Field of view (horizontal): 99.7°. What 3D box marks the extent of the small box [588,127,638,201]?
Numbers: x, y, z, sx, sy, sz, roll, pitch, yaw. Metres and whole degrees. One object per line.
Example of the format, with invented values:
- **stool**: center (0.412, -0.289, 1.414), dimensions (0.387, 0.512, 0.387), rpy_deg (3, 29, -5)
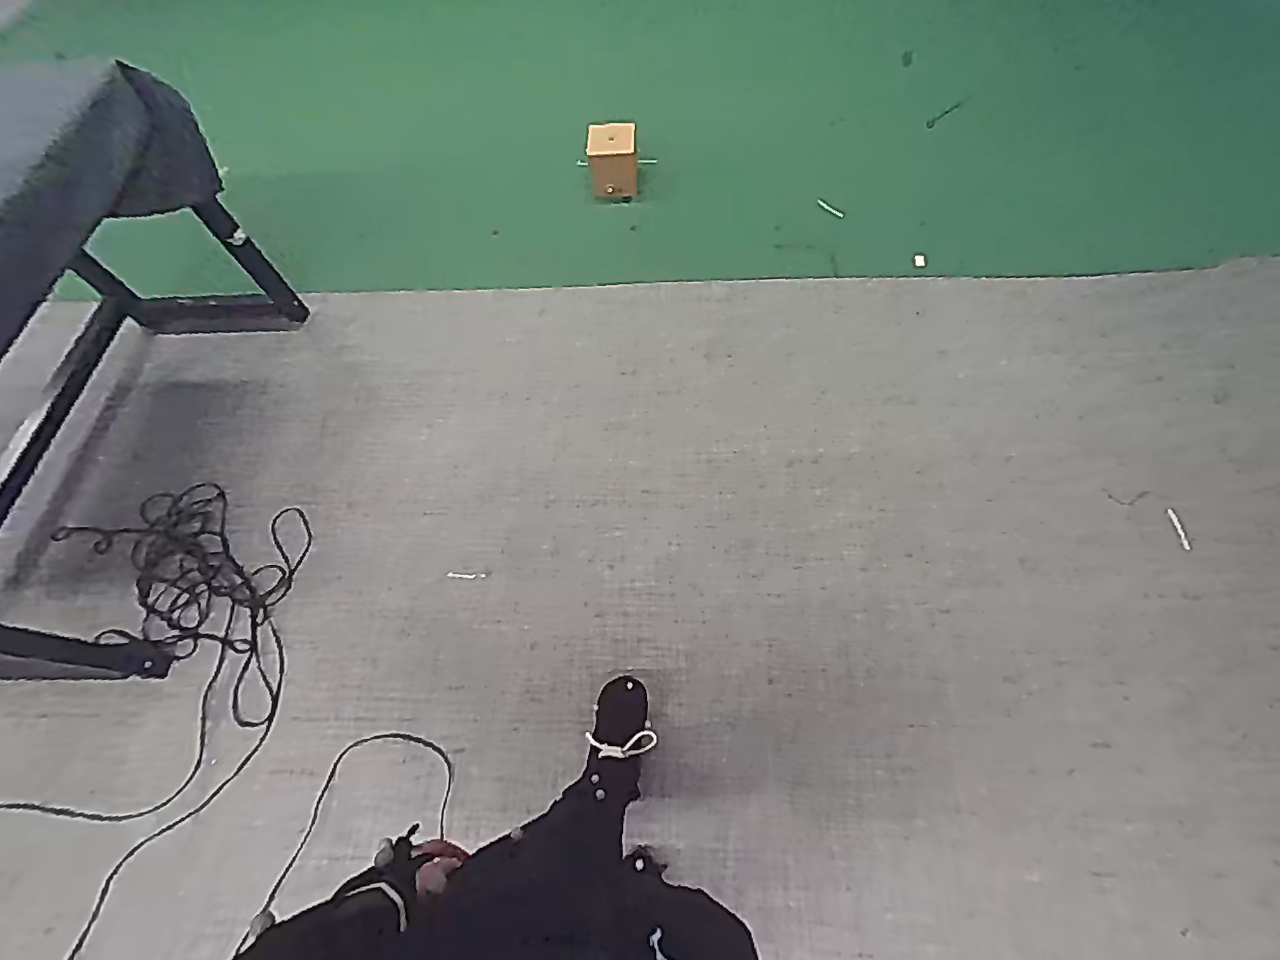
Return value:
- **small box**: center (-0.095, -1.150, 1.969), dimensions (0.168, 0.176, 0.179), rpy_deg (-1, 64, 3)
